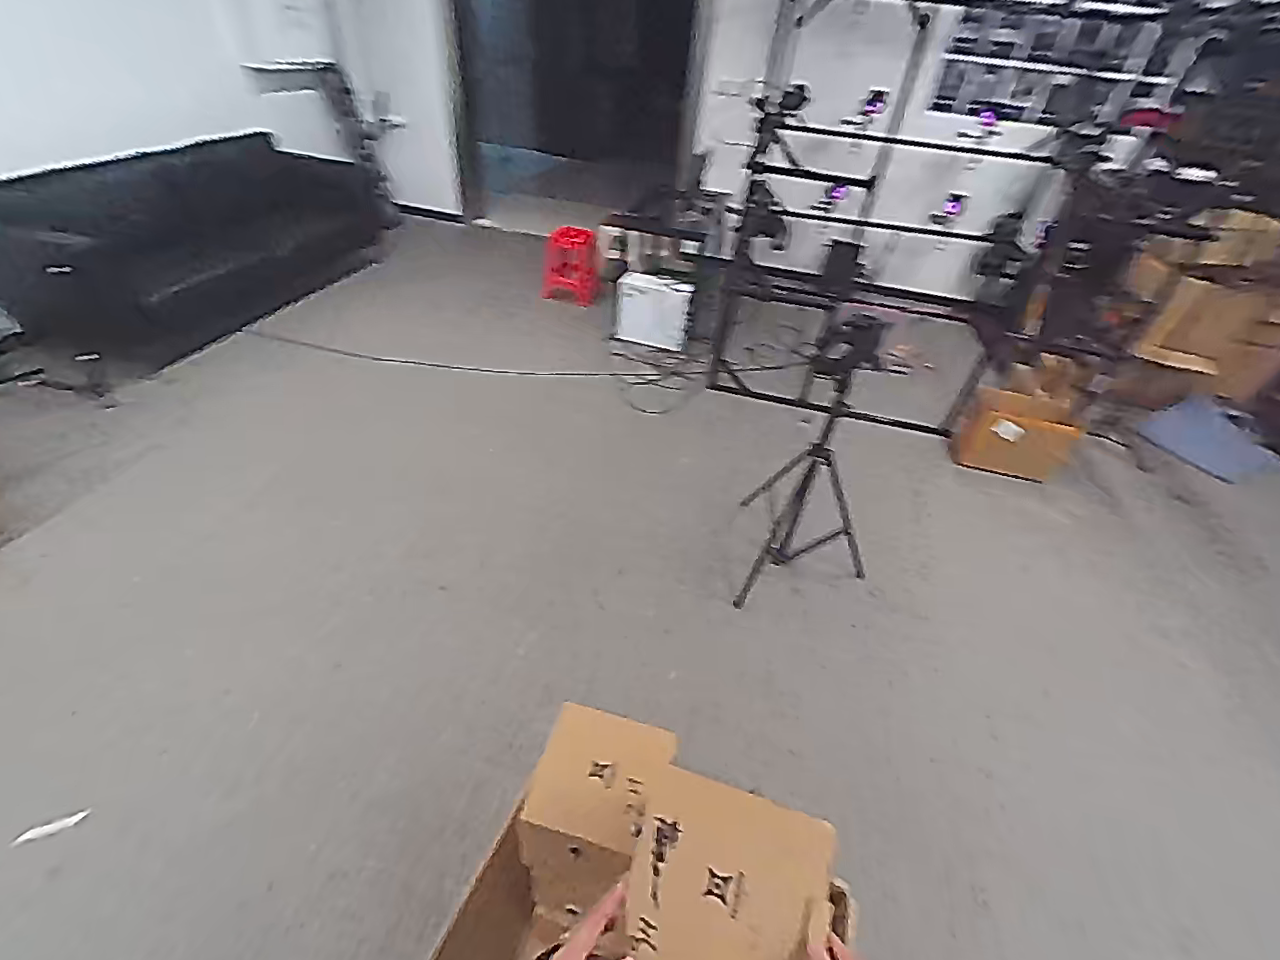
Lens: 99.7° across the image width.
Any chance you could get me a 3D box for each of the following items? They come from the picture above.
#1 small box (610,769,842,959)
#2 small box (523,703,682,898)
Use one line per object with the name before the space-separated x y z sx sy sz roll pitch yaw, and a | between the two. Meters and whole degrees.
small box | 0.083 0.415 0.546 0.179 0.176 0.168 15 59 12
small box | -0.051 0.457 0.771 0.179 0.176 0.168 14 39 8
